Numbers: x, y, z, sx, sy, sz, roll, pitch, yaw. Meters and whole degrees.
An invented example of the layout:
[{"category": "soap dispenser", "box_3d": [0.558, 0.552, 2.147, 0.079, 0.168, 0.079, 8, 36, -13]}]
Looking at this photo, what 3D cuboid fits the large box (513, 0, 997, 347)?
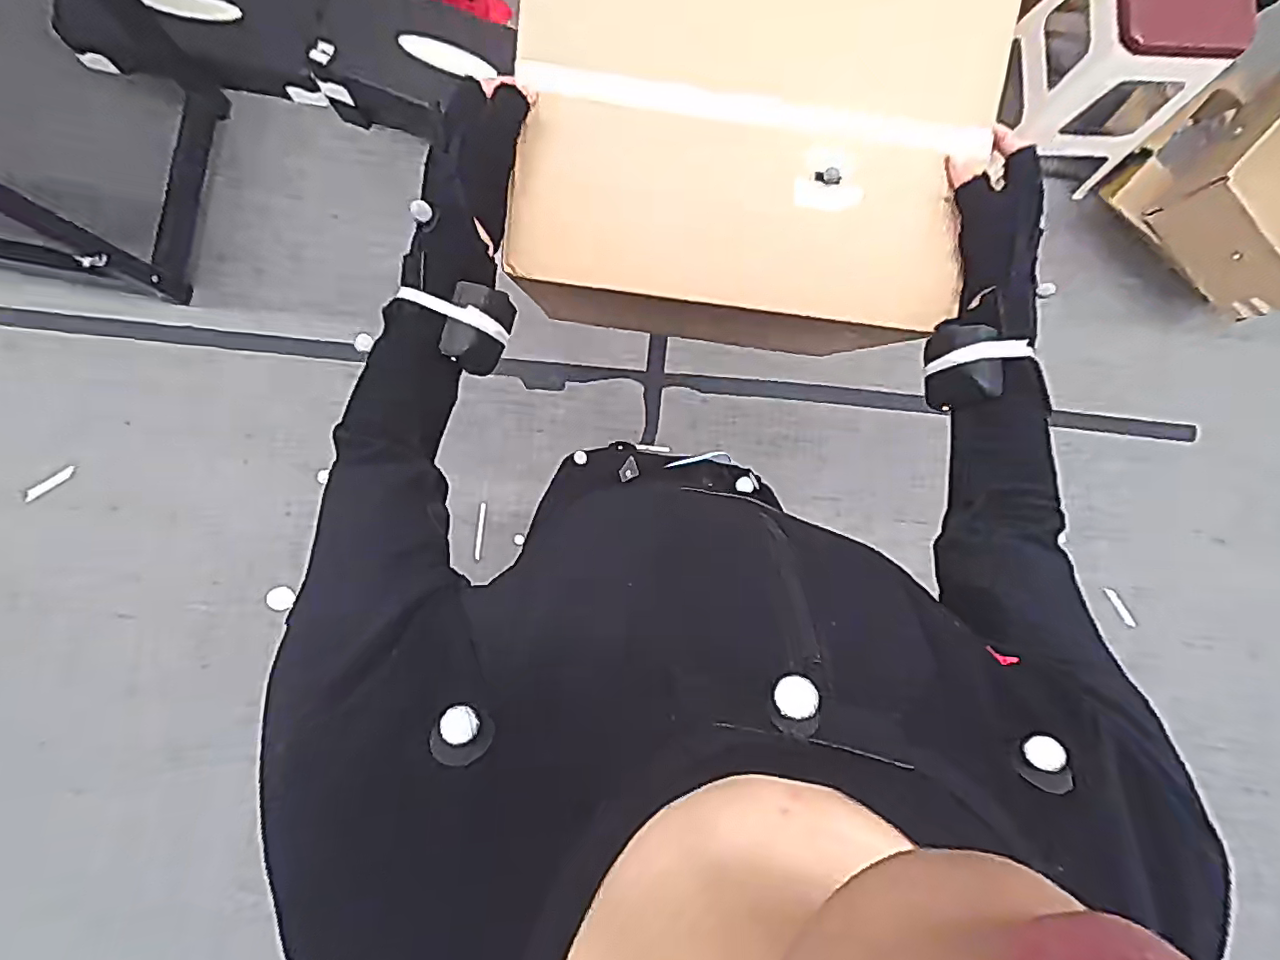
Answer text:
[{"category": "large box", "box_3d": [0.089, -0.341, 0.618, 0.408, 0.320, 0.320, 7, 100, -4]}]
